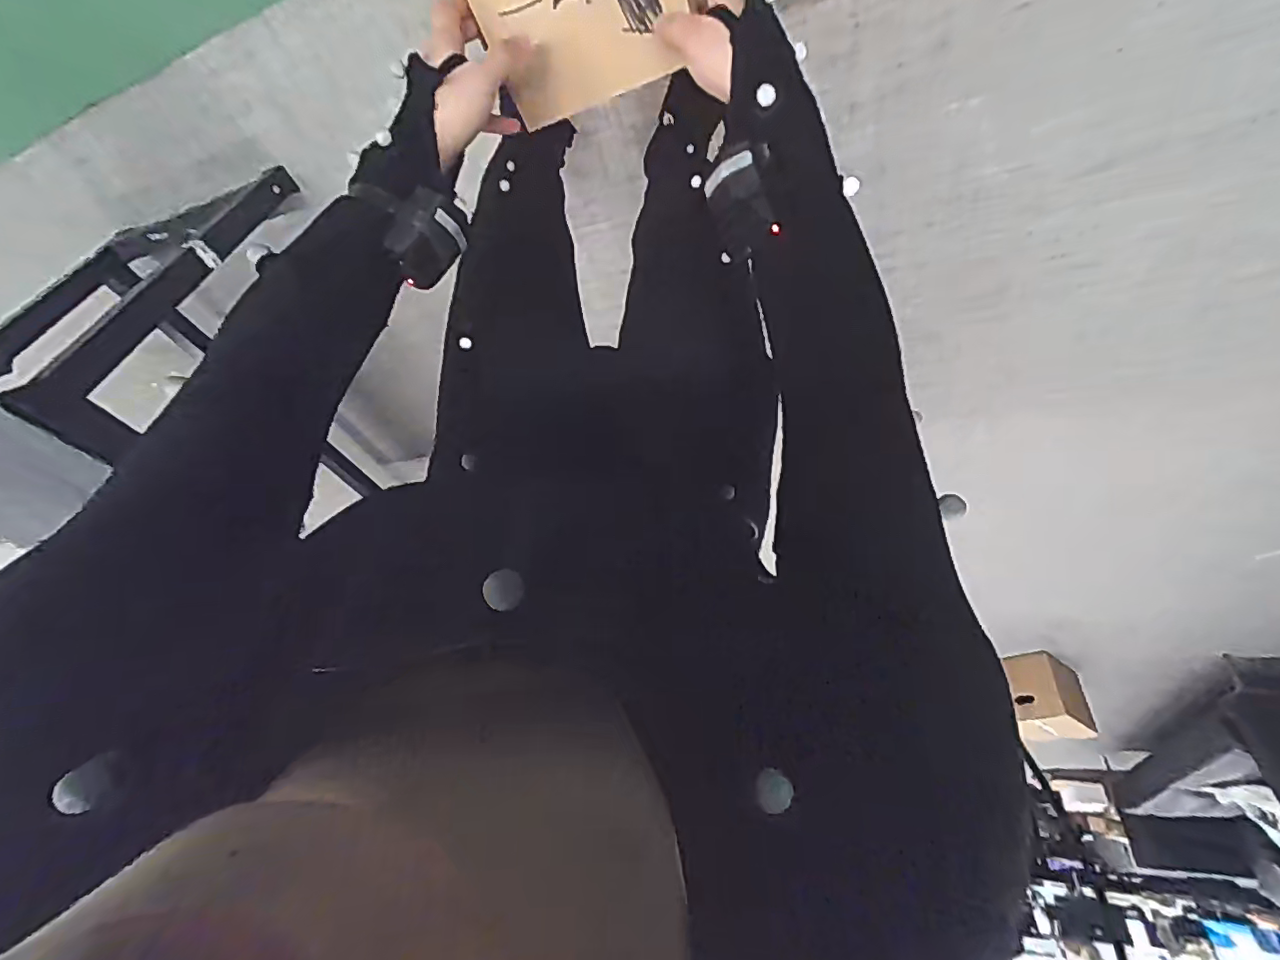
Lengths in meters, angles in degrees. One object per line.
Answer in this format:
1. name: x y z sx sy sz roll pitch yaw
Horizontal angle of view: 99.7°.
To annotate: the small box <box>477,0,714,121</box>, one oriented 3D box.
1. small box: -0.038 -0.459 0.467 0.179 0.176 0.168 -7 140 22
